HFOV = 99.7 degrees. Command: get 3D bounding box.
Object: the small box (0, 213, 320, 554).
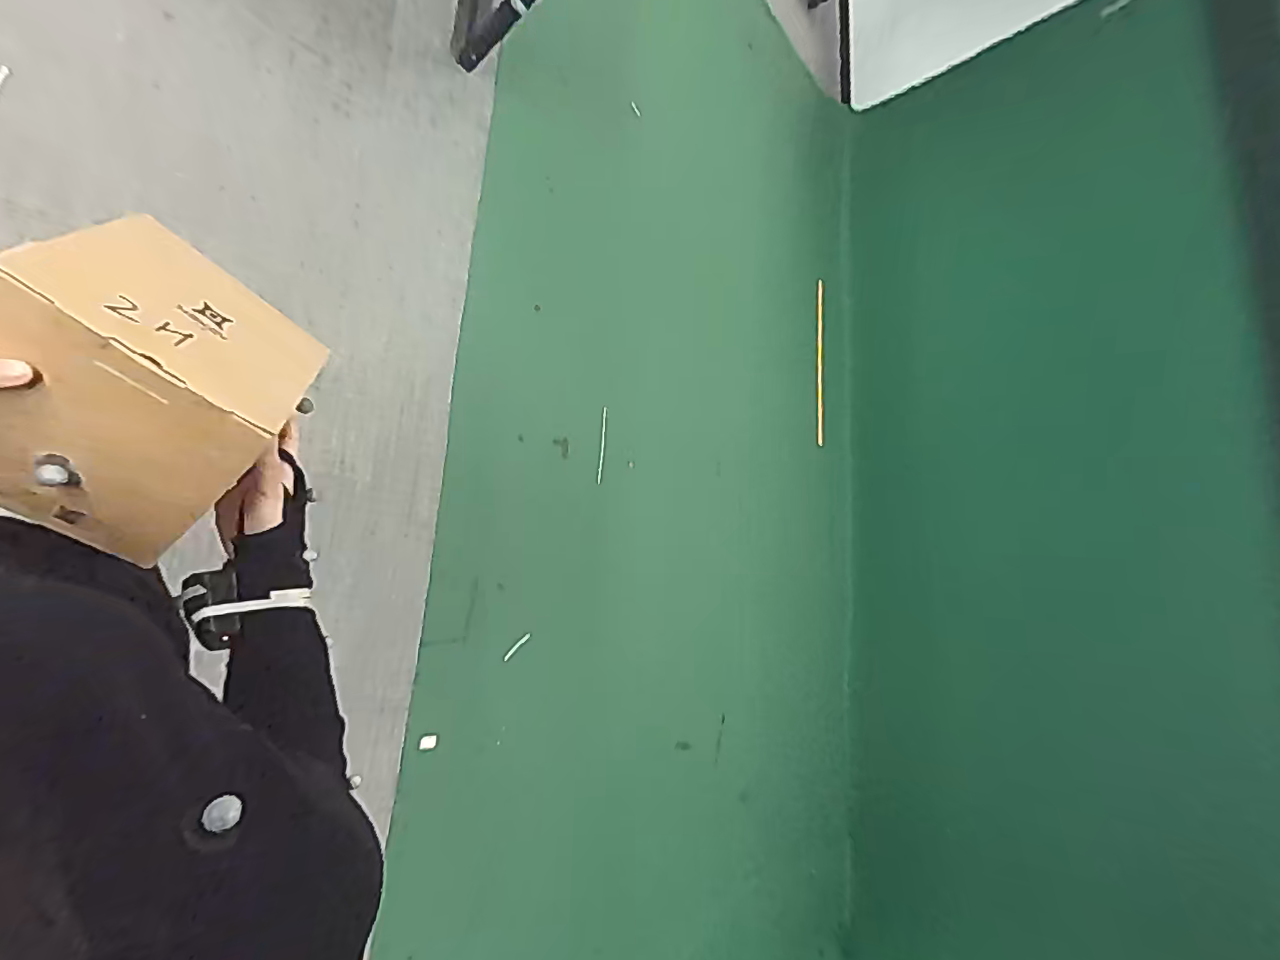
[{"bbox_3d":[-0.406,-0.077,0.437,0.168,0.176,0.179,44,15,-35],"label":"small box"}]
